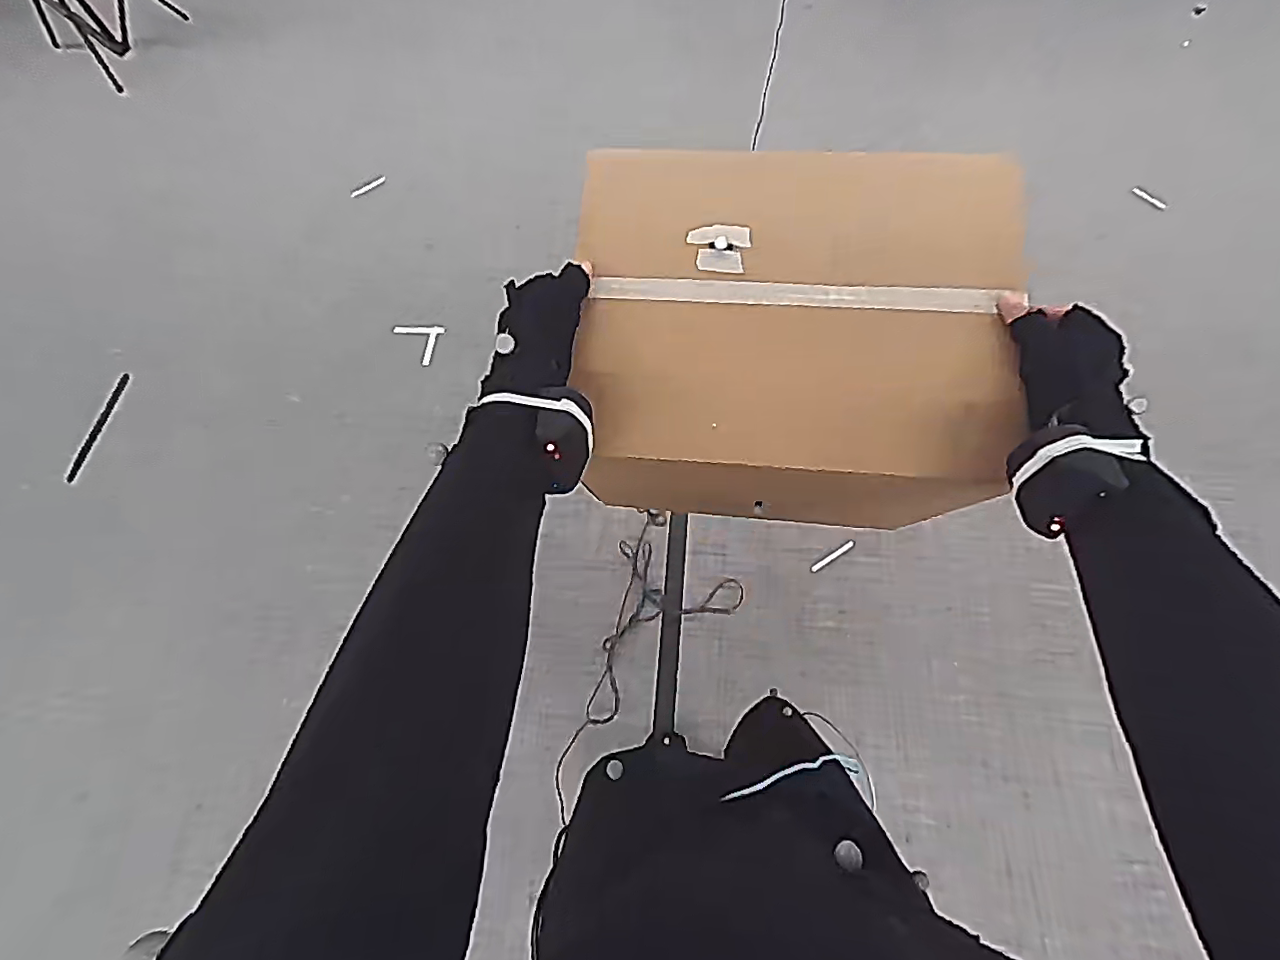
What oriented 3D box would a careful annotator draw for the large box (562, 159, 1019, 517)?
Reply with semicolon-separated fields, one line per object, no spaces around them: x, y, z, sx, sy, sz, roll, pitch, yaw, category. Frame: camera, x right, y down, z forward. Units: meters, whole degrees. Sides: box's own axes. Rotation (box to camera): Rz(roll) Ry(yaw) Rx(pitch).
0.153;-0.136;0.651;0.408;0.320;0.320;4;78;7;large box
